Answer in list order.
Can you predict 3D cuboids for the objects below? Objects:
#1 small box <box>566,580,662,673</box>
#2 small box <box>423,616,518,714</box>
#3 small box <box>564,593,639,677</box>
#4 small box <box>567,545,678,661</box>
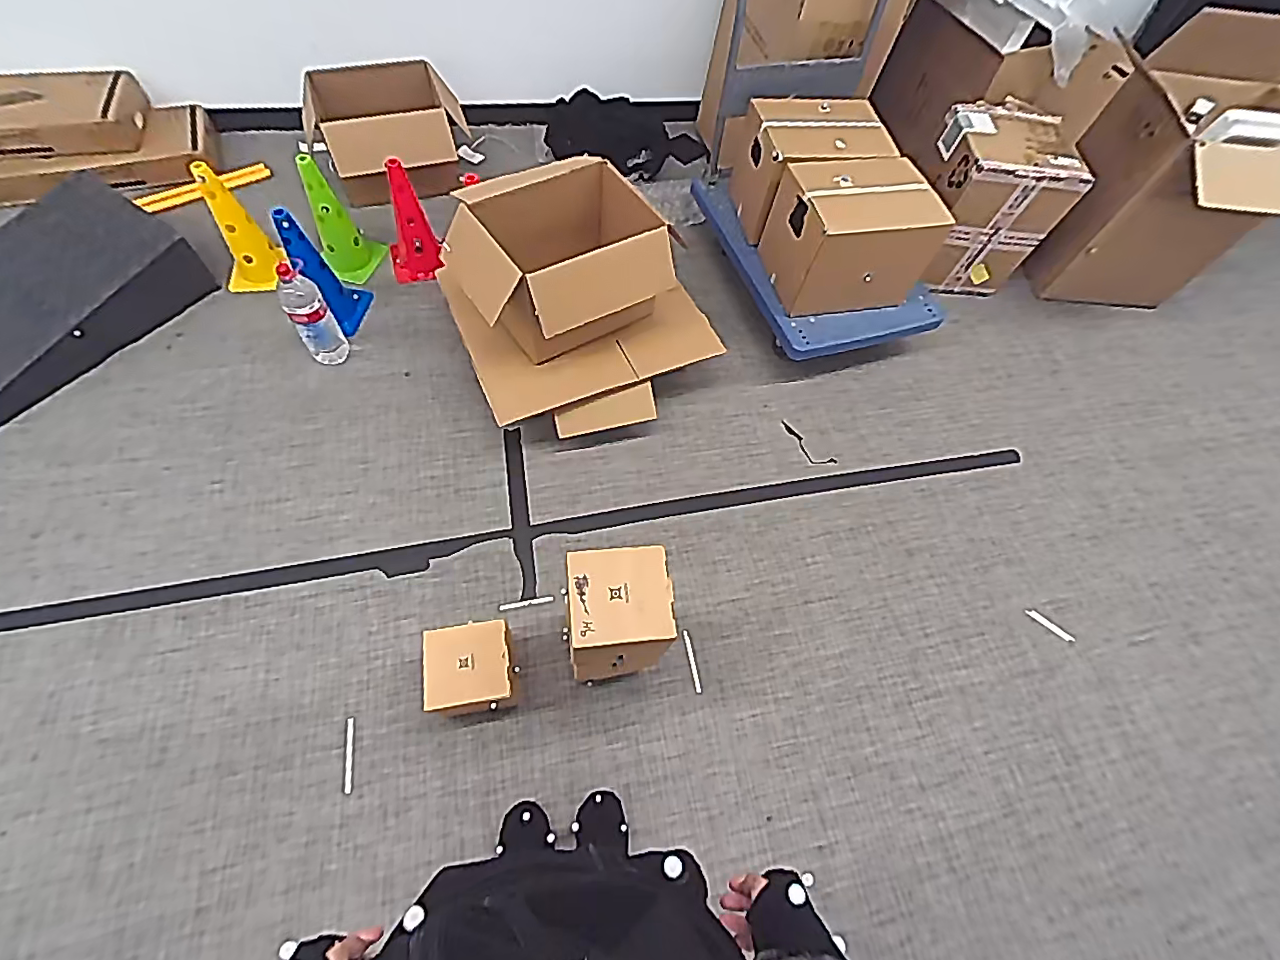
[{"bbox_3d":[-0.059,0.299,1.129,0.179,0.176,0.168,-6,64,-11],"label":"small box"},{"bbox_3d":[-0.376,0.420,1.216,0.179,0.176,0.168,-7,63,-11],"label":"small box"},{"bbox_3d":[-0.085,0.360,1.281,0.168,0.176,0.179,-8,63,-11],"label":"small box"},{"bbox_3d":[-0.041,0.226,0.983,0.179,0.176,0.168,-2,63,-9],"label":"small box"}]
